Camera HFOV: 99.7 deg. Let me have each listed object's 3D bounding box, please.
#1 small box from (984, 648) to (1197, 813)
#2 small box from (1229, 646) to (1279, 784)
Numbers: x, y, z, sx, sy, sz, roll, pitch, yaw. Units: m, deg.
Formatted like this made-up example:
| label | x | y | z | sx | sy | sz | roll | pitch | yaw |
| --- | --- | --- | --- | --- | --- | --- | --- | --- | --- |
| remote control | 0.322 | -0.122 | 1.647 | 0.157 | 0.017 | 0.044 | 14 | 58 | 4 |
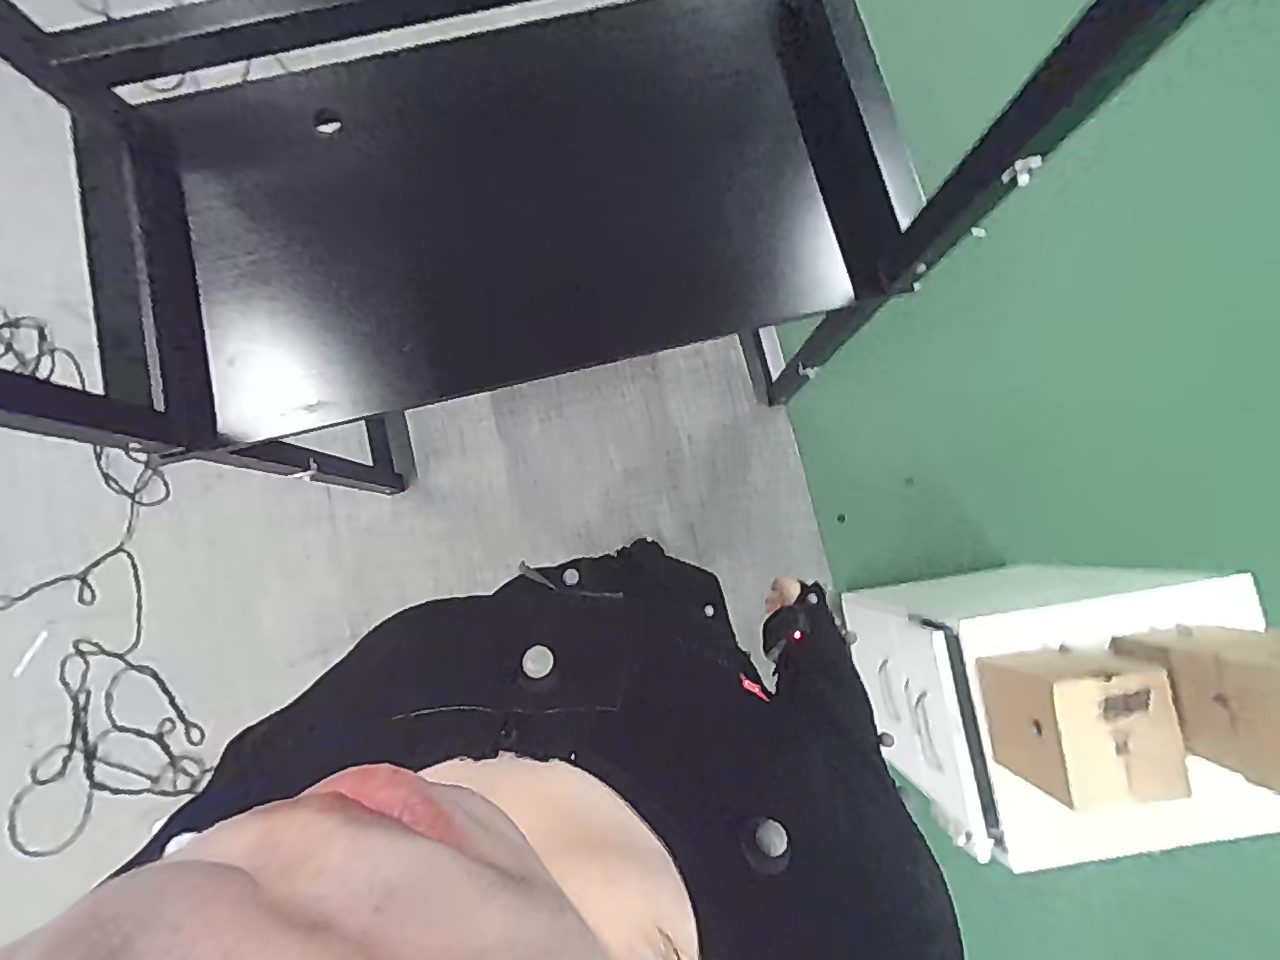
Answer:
| label | x | y | z | sx | sy | sz | roll | pitch | yaw |
| --- | --- | --- | --- | --- | --- | --- | --- | --- | --- |
| small box | 0.648 | 0.355 | 0.803 | 0.168 | 0.176 | 0.179 | -6 | 84 | -1 |
| small box | 0.878 | 0.296 | 0.647 | 0.168 | 0.176 | 0.179 | -6 | 84 | 0 |
